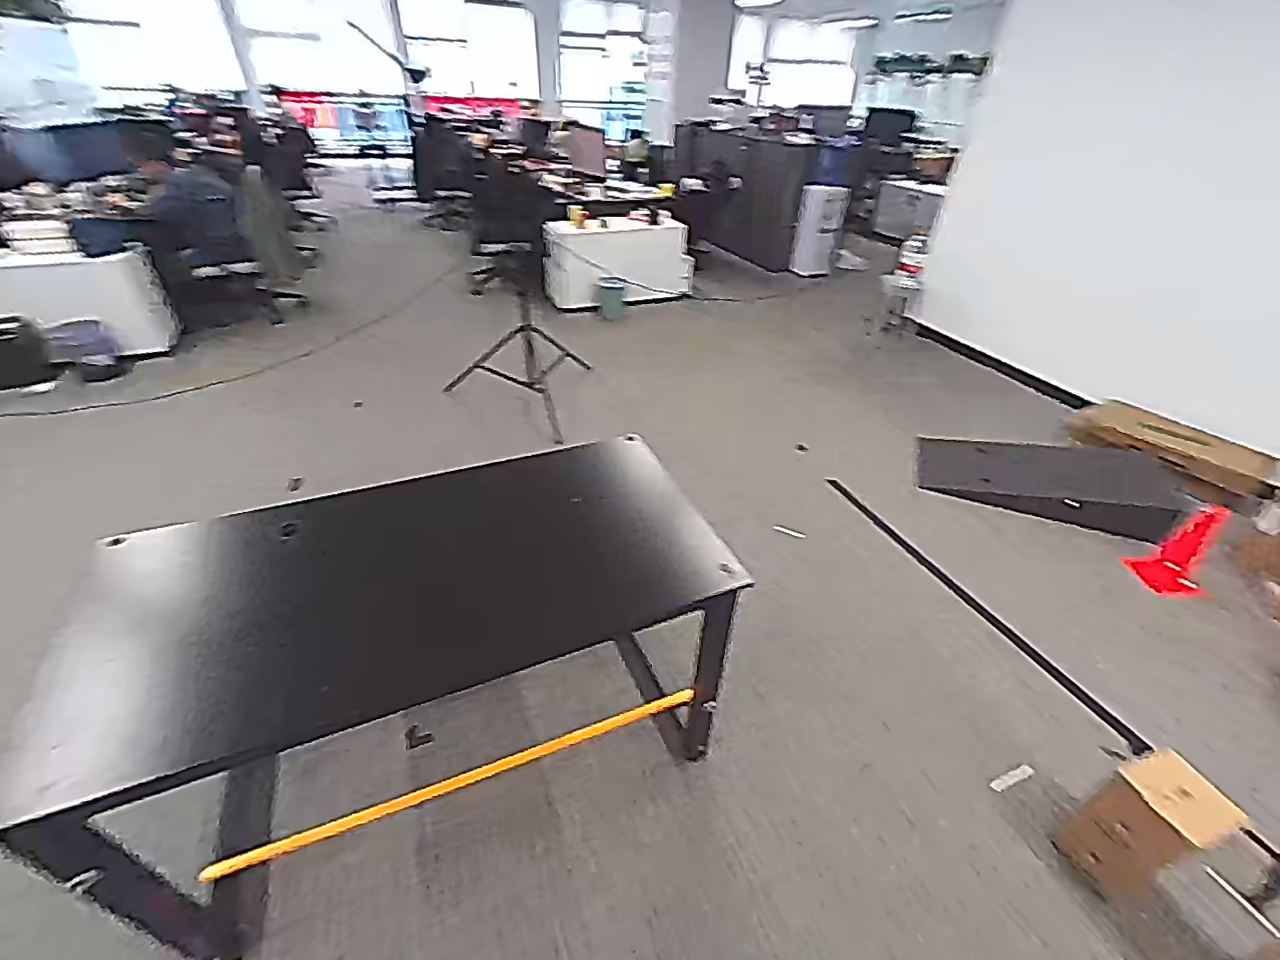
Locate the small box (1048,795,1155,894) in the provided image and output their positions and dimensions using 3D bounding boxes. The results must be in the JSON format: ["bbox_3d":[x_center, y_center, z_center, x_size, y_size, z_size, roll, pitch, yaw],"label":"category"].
[{"bbox_3d":[1.158,0.872,1.331,0.179,0.176,0.168,-14,39,-20],"label":"small box"}]

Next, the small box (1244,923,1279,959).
[{"bbox_3d":[1.297,0.927,0.997,0.179,0.176,0.168,-16,39,-20],"label":"small box"}]

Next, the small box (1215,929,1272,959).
[{"bbox_3d":[1.292,1.060,1.090,0.168,0.176,0.179,-12,40,-17],"label":"small box"}]

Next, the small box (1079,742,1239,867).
[{"bbox_3d":[1.166,0.739,1.232,0.179,0.176,0.168,-10,38,-16],"label":"small box"}]
